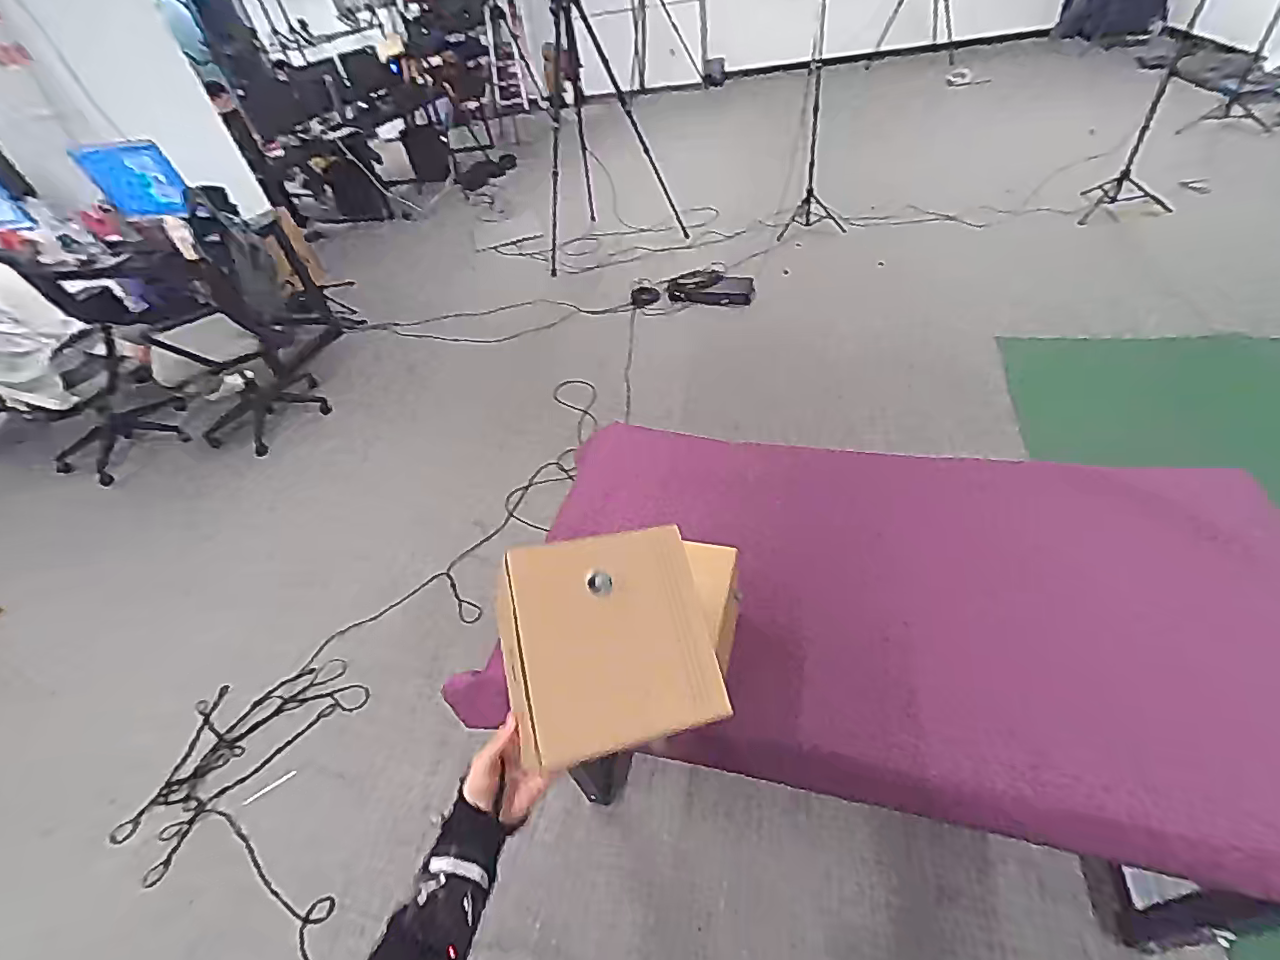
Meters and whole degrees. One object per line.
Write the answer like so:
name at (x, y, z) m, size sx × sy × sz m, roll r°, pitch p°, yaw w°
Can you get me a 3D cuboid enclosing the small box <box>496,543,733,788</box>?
small box at (-0.036, 0.167, 0.515) m, size 0.176 × 0.168 × 0.179 m, roll -8°, pitch 68°, yaw -20°
